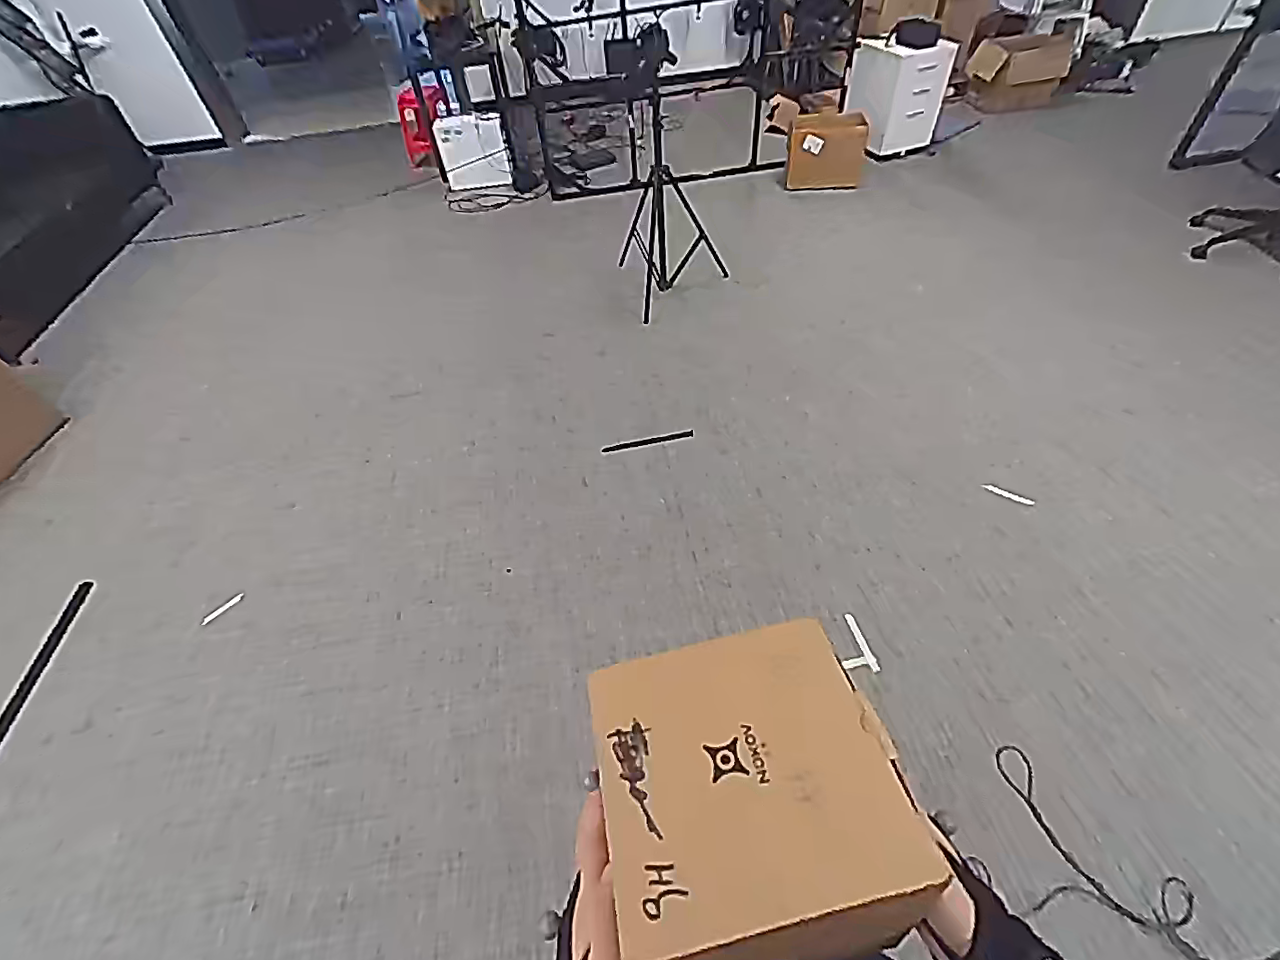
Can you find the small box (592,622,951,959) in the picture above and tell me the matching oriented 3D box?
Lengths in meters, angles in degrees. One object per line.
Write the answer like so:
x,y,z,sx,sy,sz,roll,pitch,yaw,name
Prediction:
0.071,0.232,0.383,0.179,0.176,0.168,-12,39,-4,small box
